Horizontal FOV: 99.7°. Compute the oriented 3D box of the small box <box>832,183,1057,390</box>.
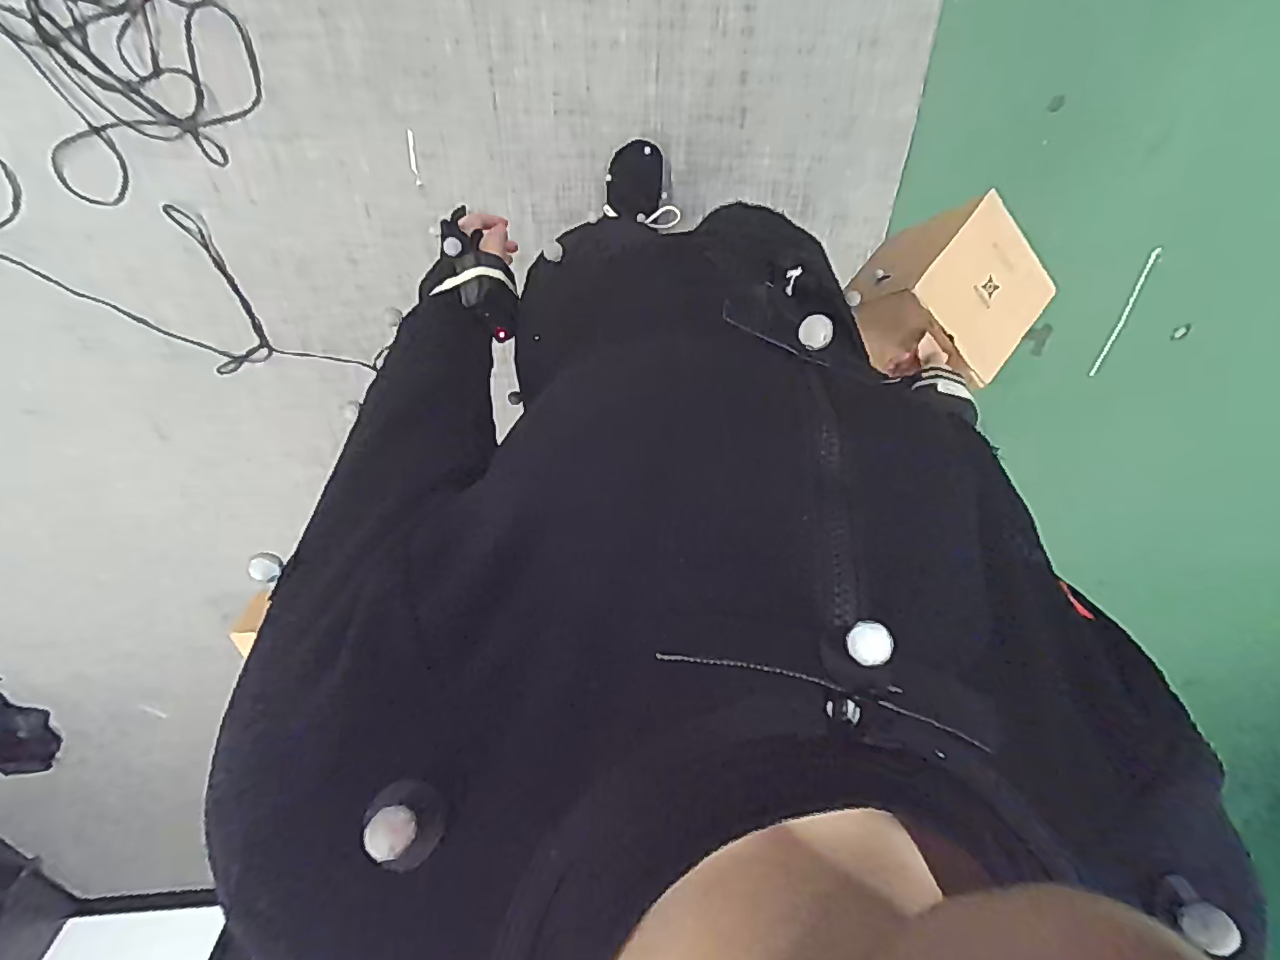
[{"bbox_3d":[0.387,-0.237,0.714,0.168,0.176,0.179,43,79,-18],"label":"small box"}]
